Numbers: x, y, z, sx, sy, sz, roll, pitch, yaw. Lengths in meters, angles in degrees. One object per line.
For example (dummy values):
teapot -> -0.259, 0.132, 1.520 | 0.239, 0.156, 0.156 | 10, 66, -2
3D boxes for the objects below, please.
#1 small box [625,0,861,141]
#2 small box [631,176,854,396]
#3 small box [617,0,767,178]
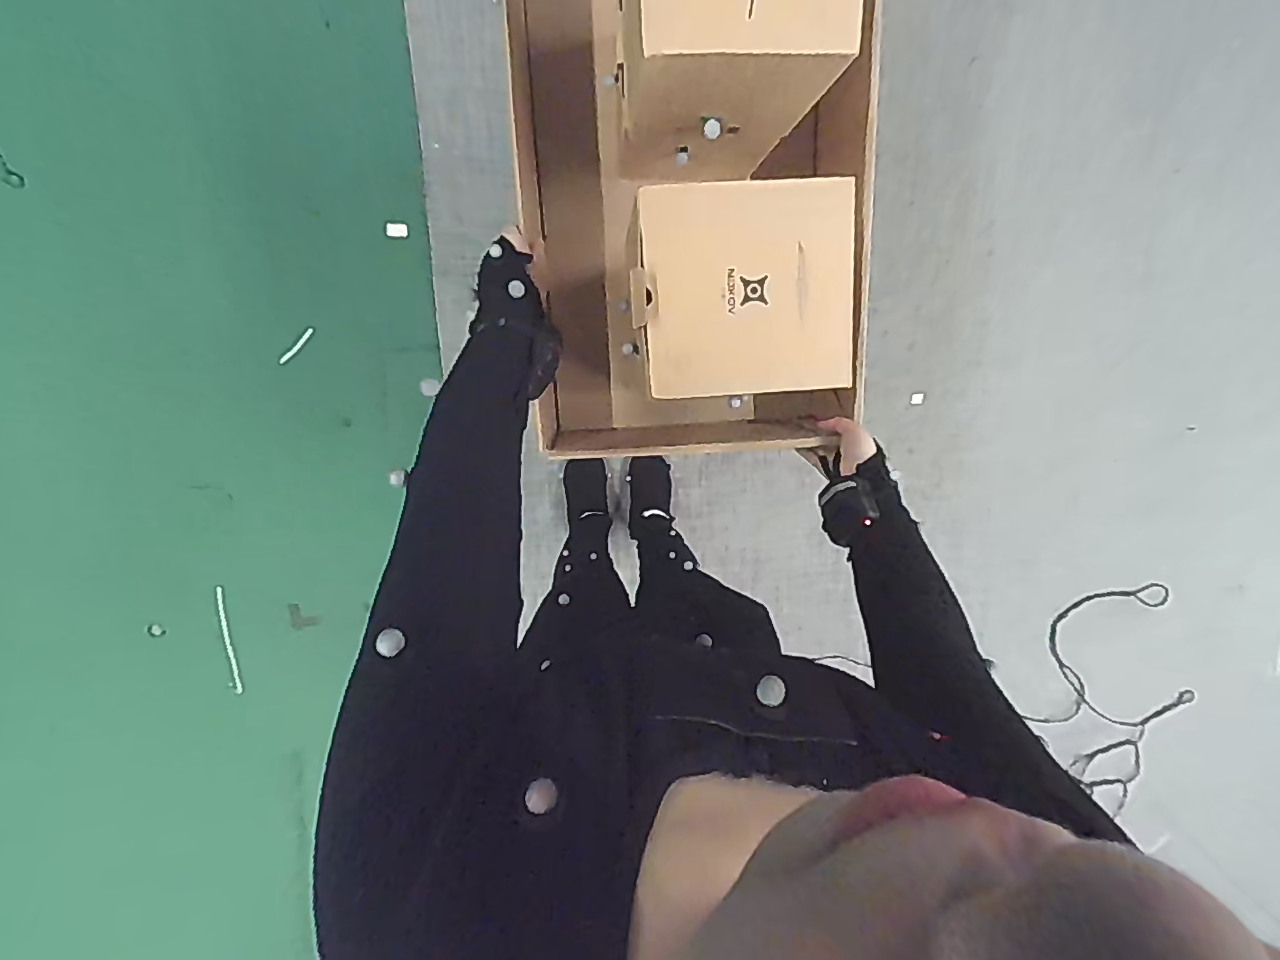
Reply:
small box -> 0.074, -0.417, 0.459 | 0.168, 0.176, 0.179 | -3, 104, -3
small box -> 0.083, -0.170, 0.517 | 0.179, 0.176, 0.168 | -5, 102, -4
small box -> 0.062, -0.458, 0.617 | 0.179, 0.176, 0.168 | -2, 104, -3
